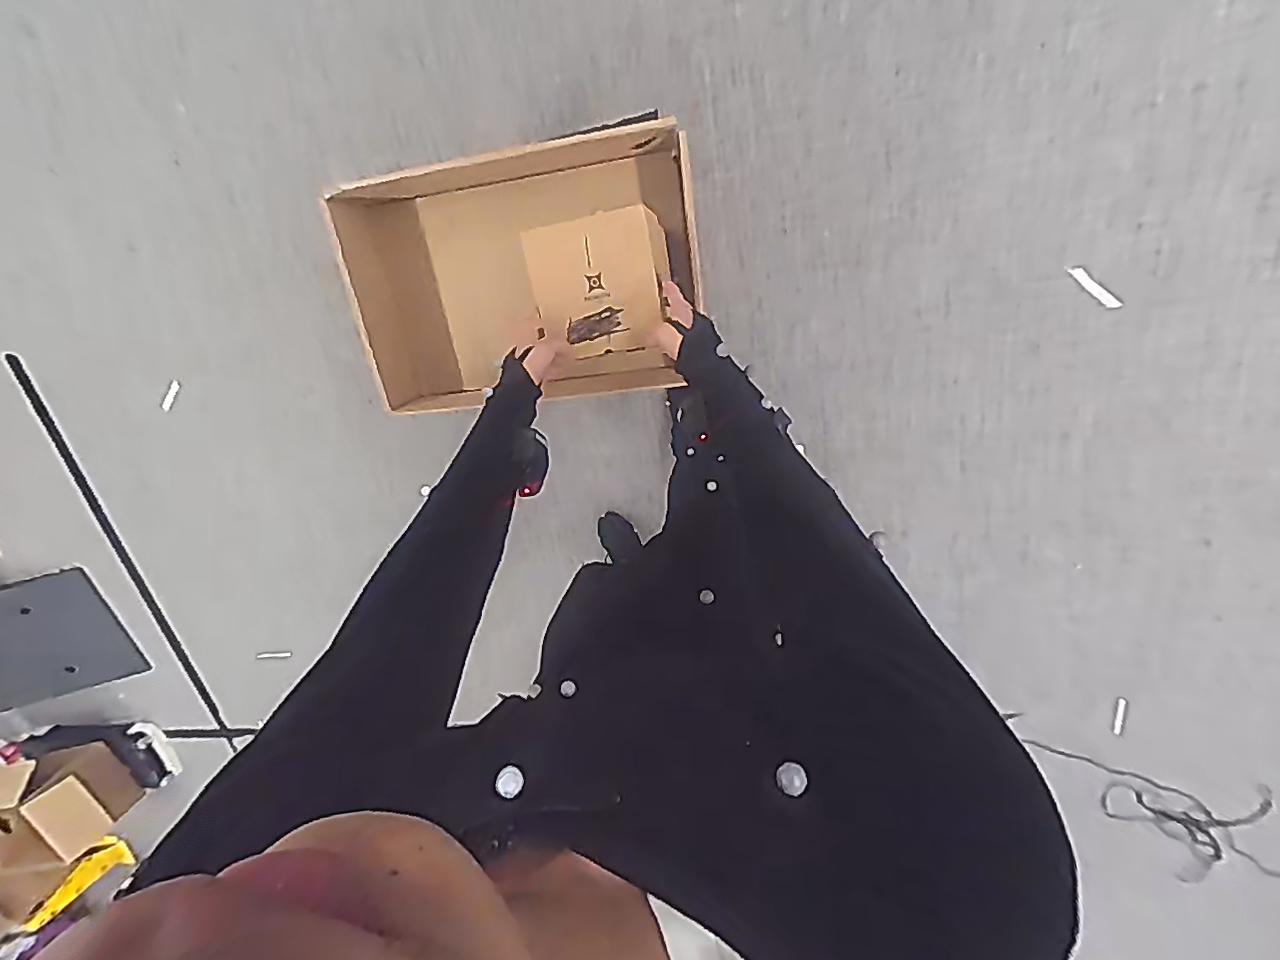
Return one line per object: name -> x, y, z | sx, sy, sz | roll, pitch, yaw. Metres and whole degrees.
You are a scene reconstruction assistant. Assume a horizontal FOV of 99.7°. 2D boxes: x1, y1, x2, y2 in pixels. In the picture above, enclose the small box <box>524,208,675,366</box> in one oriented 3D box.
small box -> -0.046, -0.278, 0.783 | 0.168, 0.176, 0.179 | -8, 110, 10
